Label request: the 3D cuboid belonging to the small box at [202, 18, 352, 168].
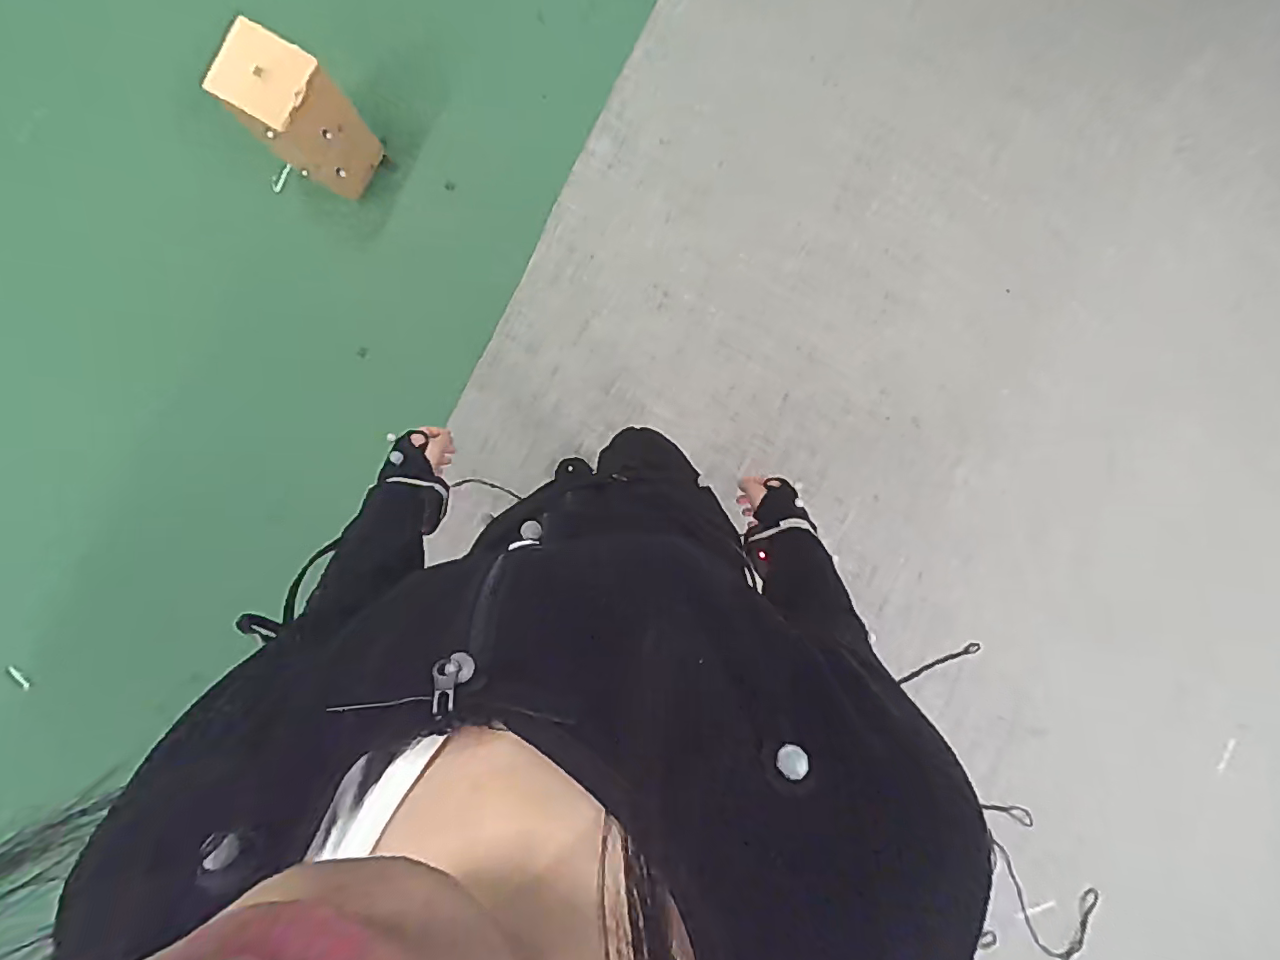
[{"bbox_3d":[-0.768,-0.817,1.165,0.179,0.176,0.168,28,91,-4],"label":"small box"}]
